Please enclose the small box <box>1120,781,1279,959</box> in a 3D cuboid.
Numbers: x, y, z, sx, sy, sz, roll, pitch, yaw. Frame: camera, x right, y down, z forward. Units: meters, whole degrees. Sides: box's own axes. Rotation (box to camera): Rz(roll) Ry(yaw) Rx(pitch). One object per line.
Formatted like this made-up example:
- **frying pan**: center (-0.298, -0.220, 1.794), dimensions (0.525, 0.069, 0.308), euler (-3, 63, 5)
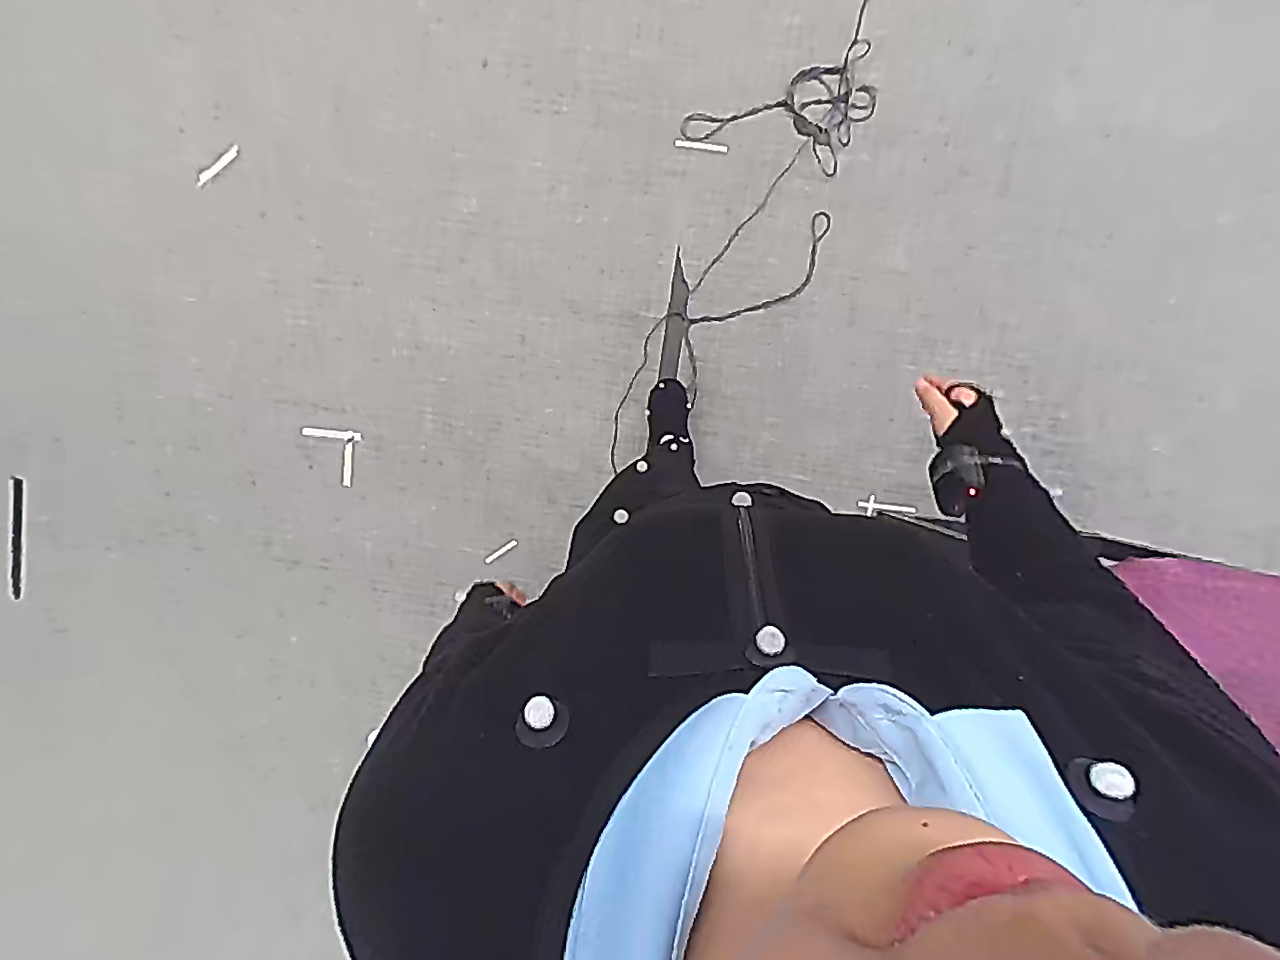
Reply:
- **small box**: center (0.765, 0.517, 0.681), dimensions (0.168, 0.176, 0.179), euler (8, 96, 3)
